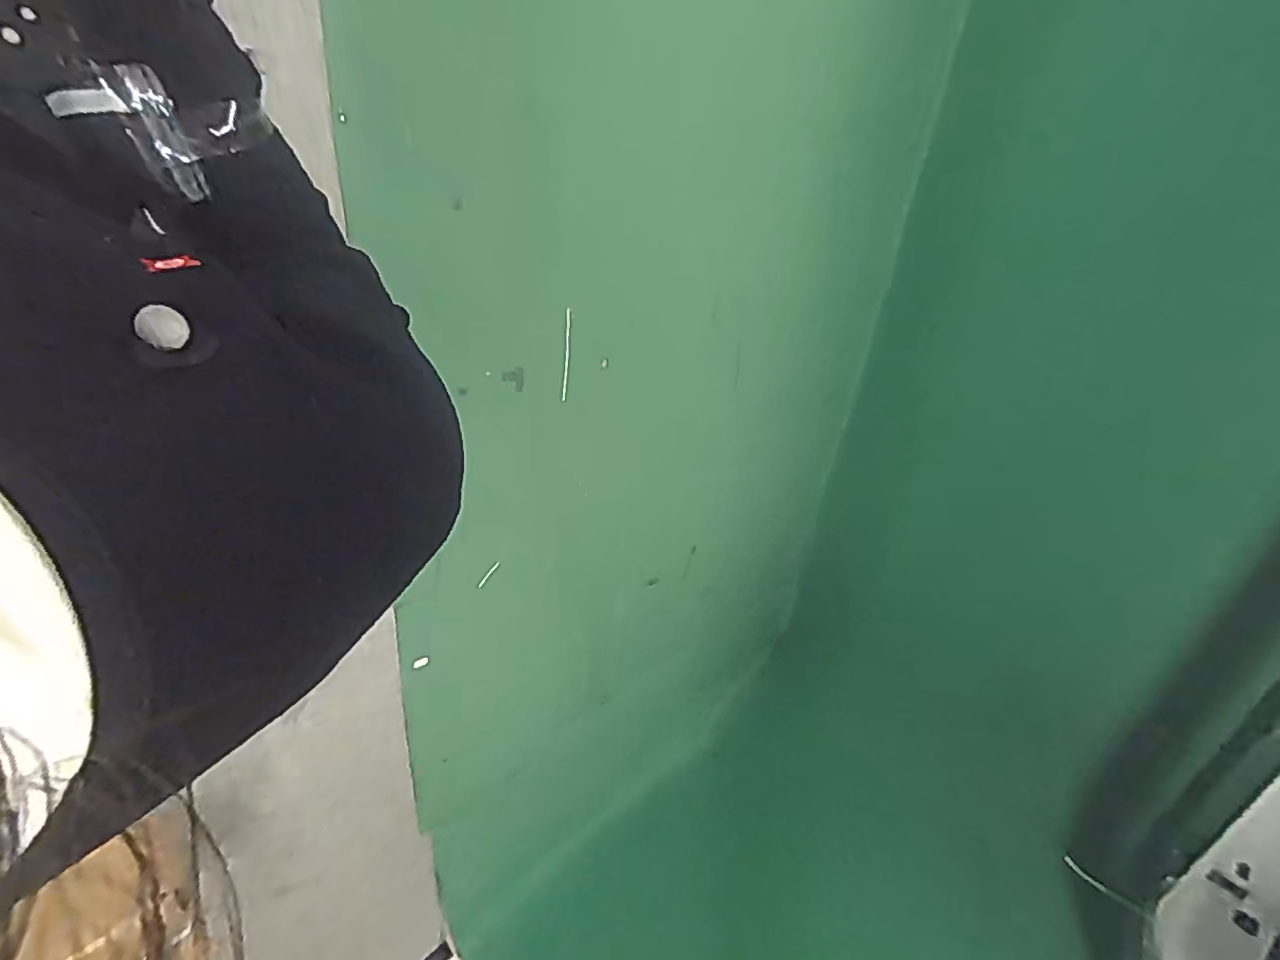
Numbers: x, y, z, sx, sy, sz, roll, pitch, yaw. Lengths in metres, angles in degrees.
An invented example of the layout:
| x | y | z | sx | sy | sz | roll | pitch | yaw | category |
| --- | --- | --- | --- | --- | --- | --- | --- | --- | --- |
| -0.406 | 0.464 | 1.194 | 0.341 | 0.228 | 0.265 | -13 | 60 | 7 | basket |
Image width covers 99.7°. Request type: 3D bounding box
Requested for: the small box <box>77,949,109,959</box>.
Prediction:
| x | y | z | sx | sy | sz | roll | pitch | yaw | category |
| --- | --- | --- | --- | --- | --- | --- | --- | --- | --- |
| -1.161 | 1.113 | 1.084 | 0.179 | 0.176 | 0.168 | -22 | 126 | -40 | small box |
